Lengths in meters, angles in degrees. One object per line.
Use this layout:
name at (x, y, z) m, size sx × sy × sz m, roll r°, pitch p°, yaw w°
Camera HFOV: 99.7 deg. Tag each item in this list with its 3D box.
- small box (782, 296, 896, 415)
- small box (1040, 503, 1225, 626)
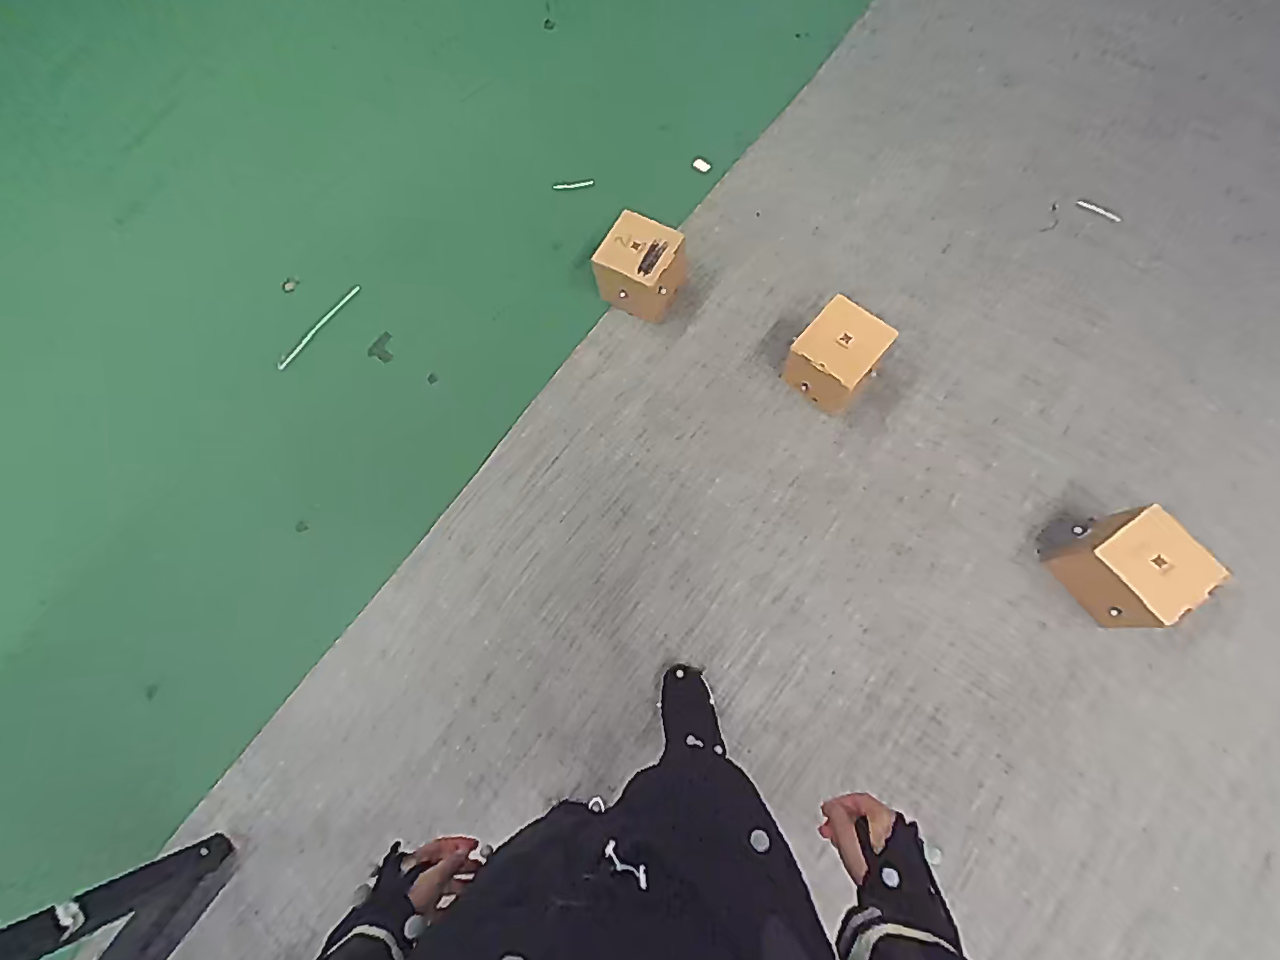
small box at (0.455, -0.285, 1.271) m, size 0.168 × 0.176 × 0.179 m, roll 39°, pitch 83°, yaw 14°
small box at (0.979, 0.176, 1.094) m, size 0.168 × 0.176 × 0.179 m, roll -36°, pitch 74°, yaw -6°
